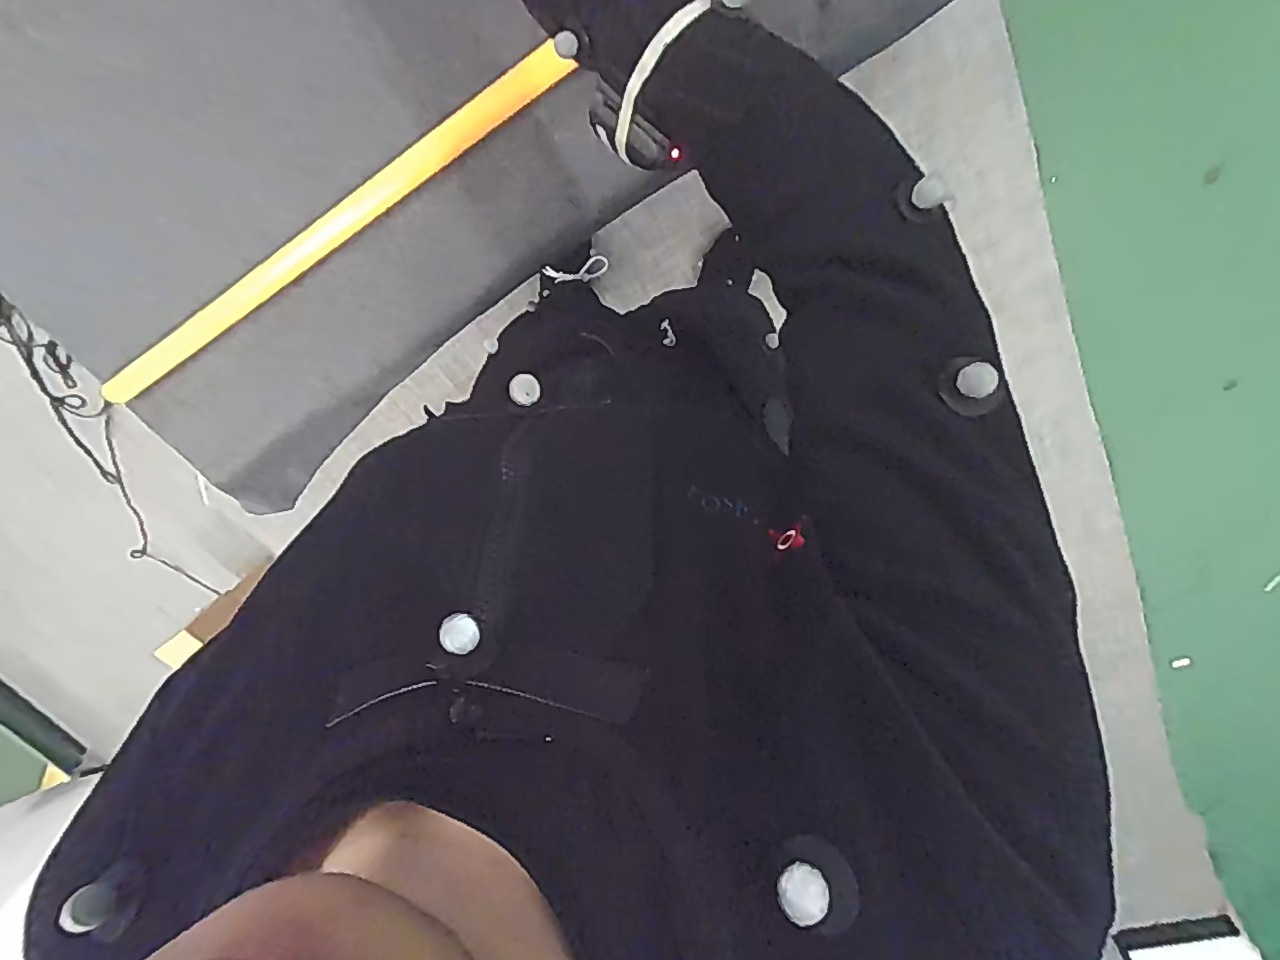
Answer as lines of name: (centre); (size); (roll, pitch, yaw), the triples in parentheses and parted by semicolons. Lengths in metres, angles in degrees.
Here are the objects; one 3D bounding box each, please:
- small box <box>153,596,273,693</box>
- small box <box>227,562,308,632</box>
small box: (-1.214, 0.470, 1.553); (0.168, 0.176, 0.179); (-31, 112, 19)
small box: (-1.192, 0.393, 1.698); (0.179, 0.176, 0.168); (-36, 111, 22)
